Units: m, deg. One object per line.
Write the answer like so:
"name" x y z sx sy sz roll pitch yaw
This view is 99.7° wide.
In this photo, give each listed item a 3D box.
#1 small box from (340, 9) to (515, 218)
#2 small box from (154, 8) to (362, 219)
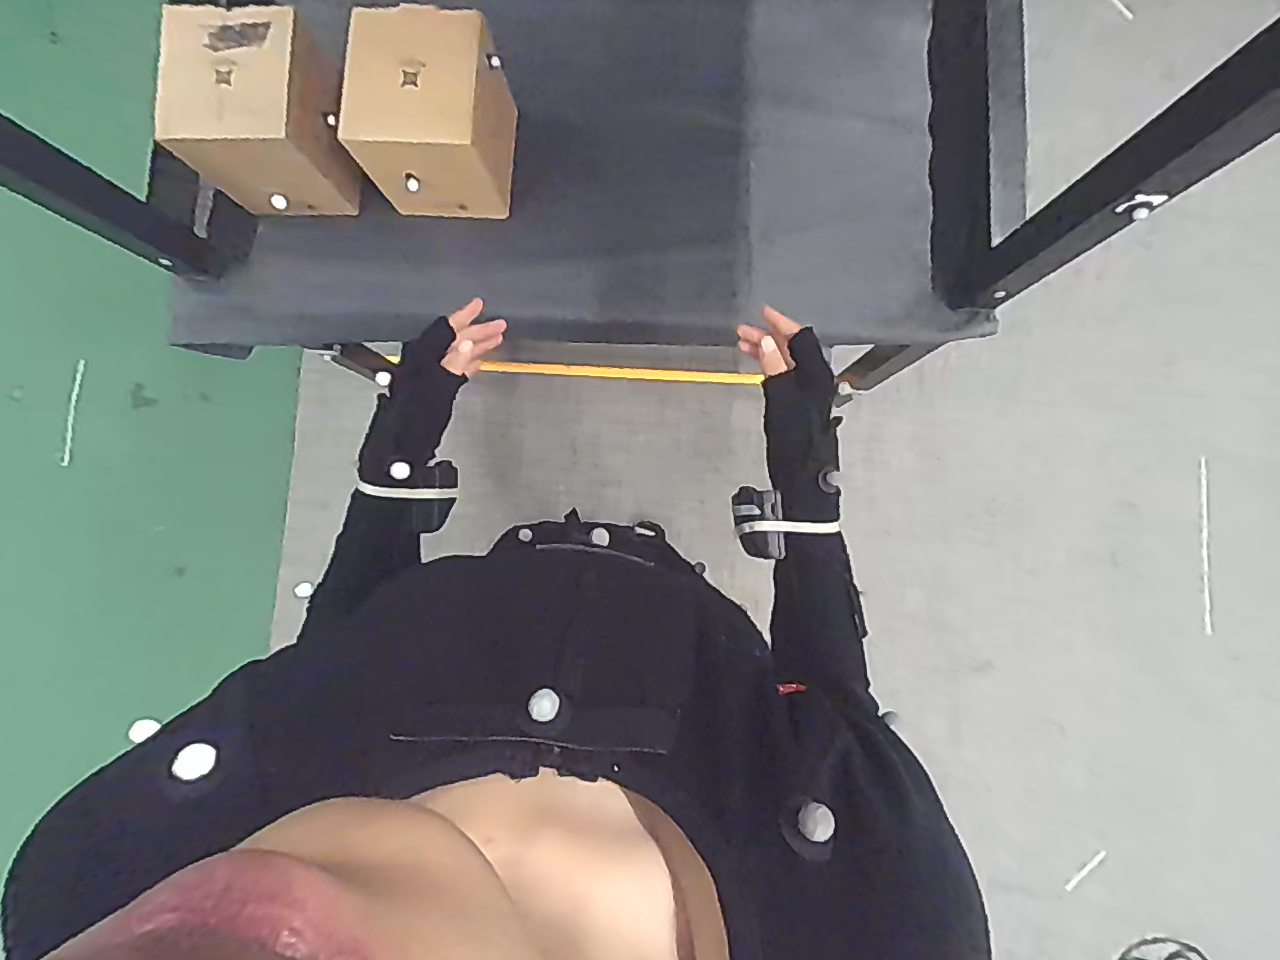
"small box" -0.274 -0.481 0.734 0.168 0.176 0.179 3 85 2
"small box" -0.501 -0.487 0.738 0.168 0.176 0.179 1 86 2
